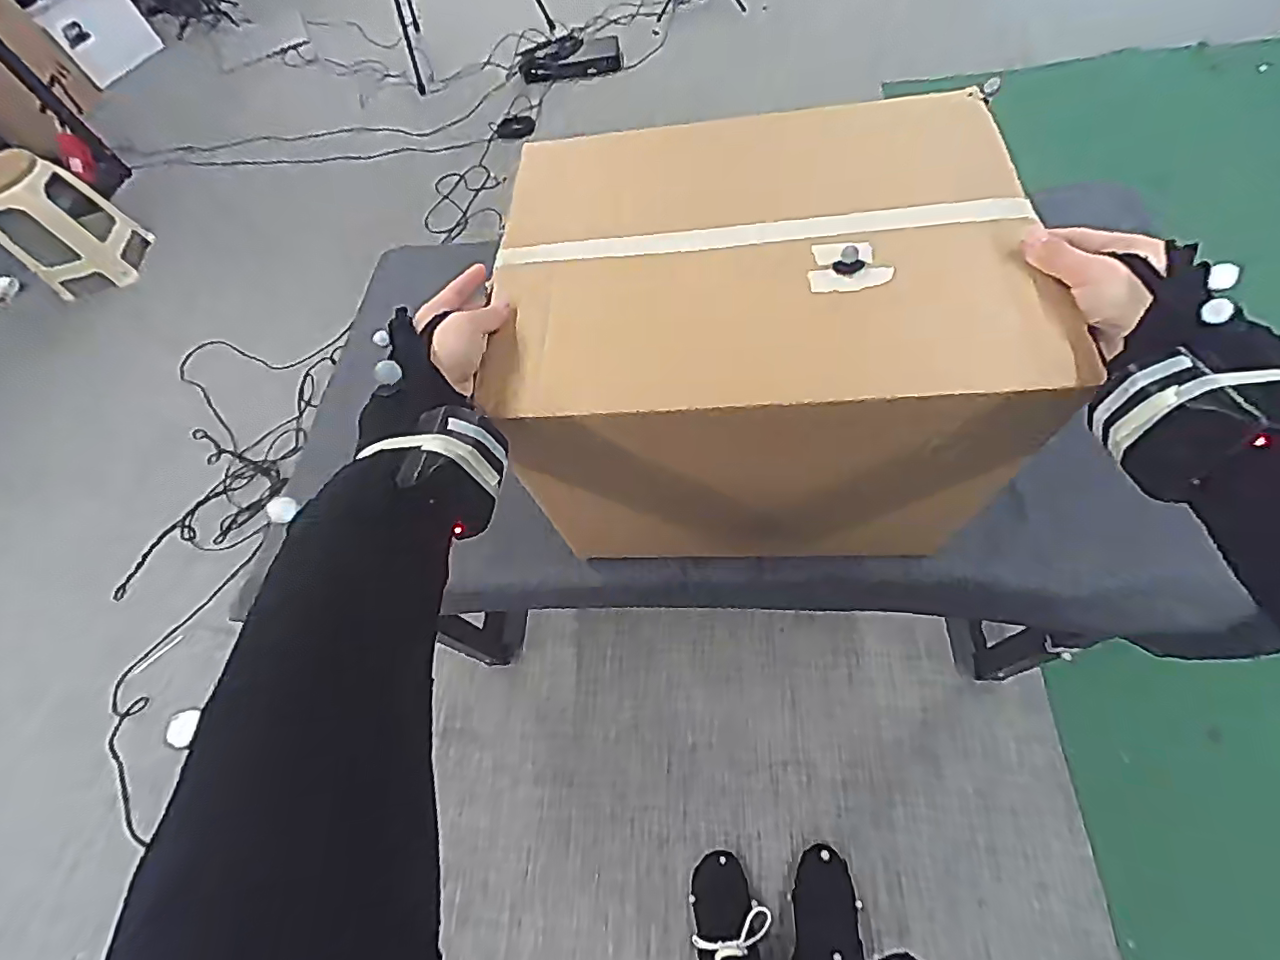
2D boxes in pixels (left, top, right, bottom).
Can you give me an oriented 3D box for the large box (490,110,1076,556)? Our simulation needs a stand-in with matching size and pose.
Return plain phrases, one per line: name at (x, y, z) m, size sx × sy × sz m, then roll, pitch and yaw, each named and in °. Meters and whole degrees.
large box at (0.104, -0.119, 0.567) m, size 0.408 × 0.320 × 0.320 m, roll -2°, pitch 63°, yaw 7°
